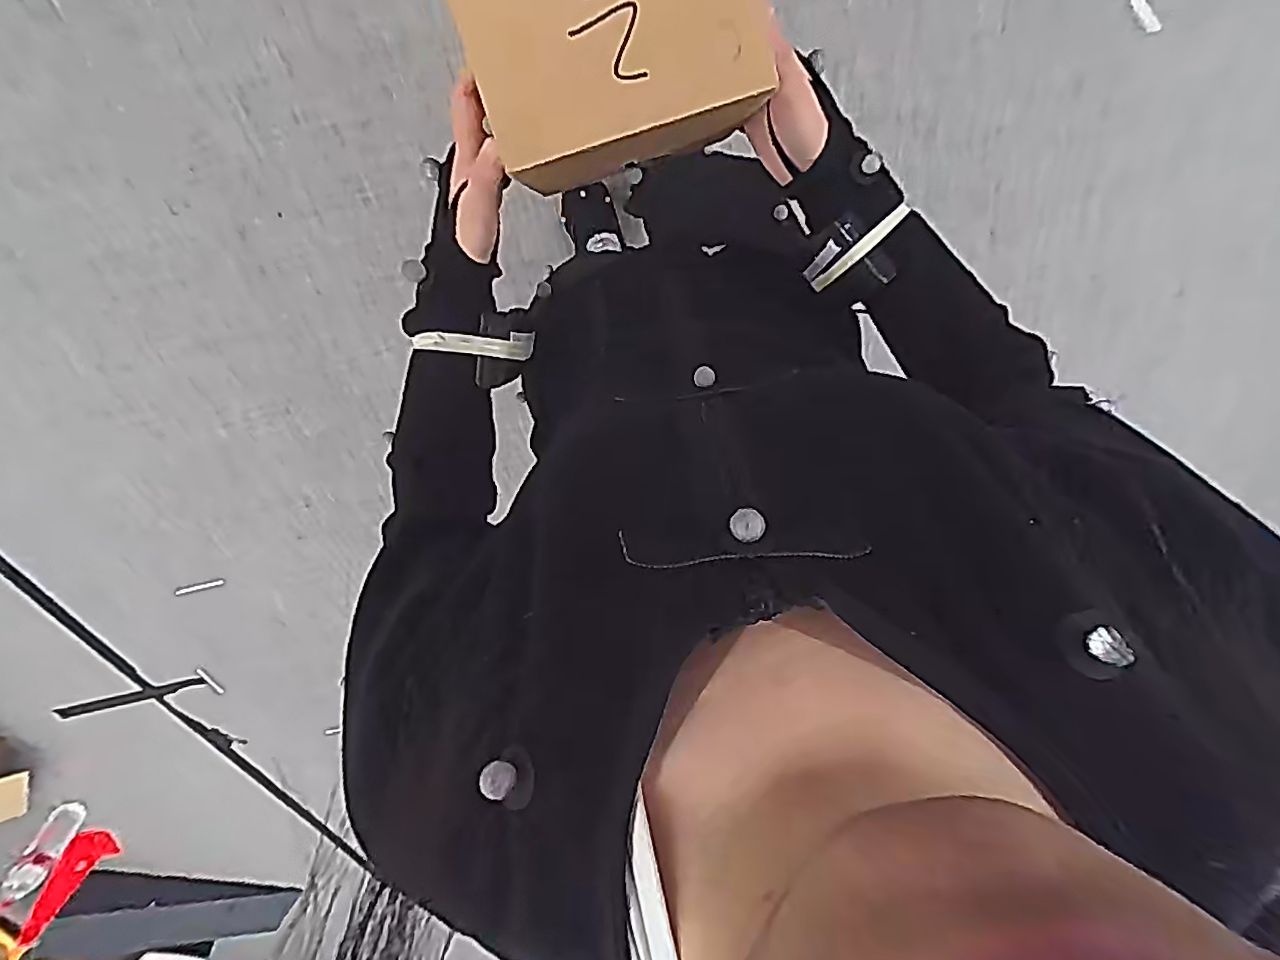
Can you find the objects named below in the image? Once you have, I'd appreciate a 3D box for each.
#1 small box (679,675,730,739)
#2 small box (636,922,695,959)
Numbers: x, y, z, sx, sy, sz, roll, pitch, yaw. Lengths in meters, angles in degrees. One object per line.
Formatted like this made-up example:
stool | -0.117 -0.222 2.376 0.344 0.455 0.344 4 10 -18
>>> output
small box | 0.261 0.919 2.212 0.168 0.176 0.179 -12 125 -1
small box | 0.088 1.540 1.707 0.179 0.176 0.168 -13 125 -2
